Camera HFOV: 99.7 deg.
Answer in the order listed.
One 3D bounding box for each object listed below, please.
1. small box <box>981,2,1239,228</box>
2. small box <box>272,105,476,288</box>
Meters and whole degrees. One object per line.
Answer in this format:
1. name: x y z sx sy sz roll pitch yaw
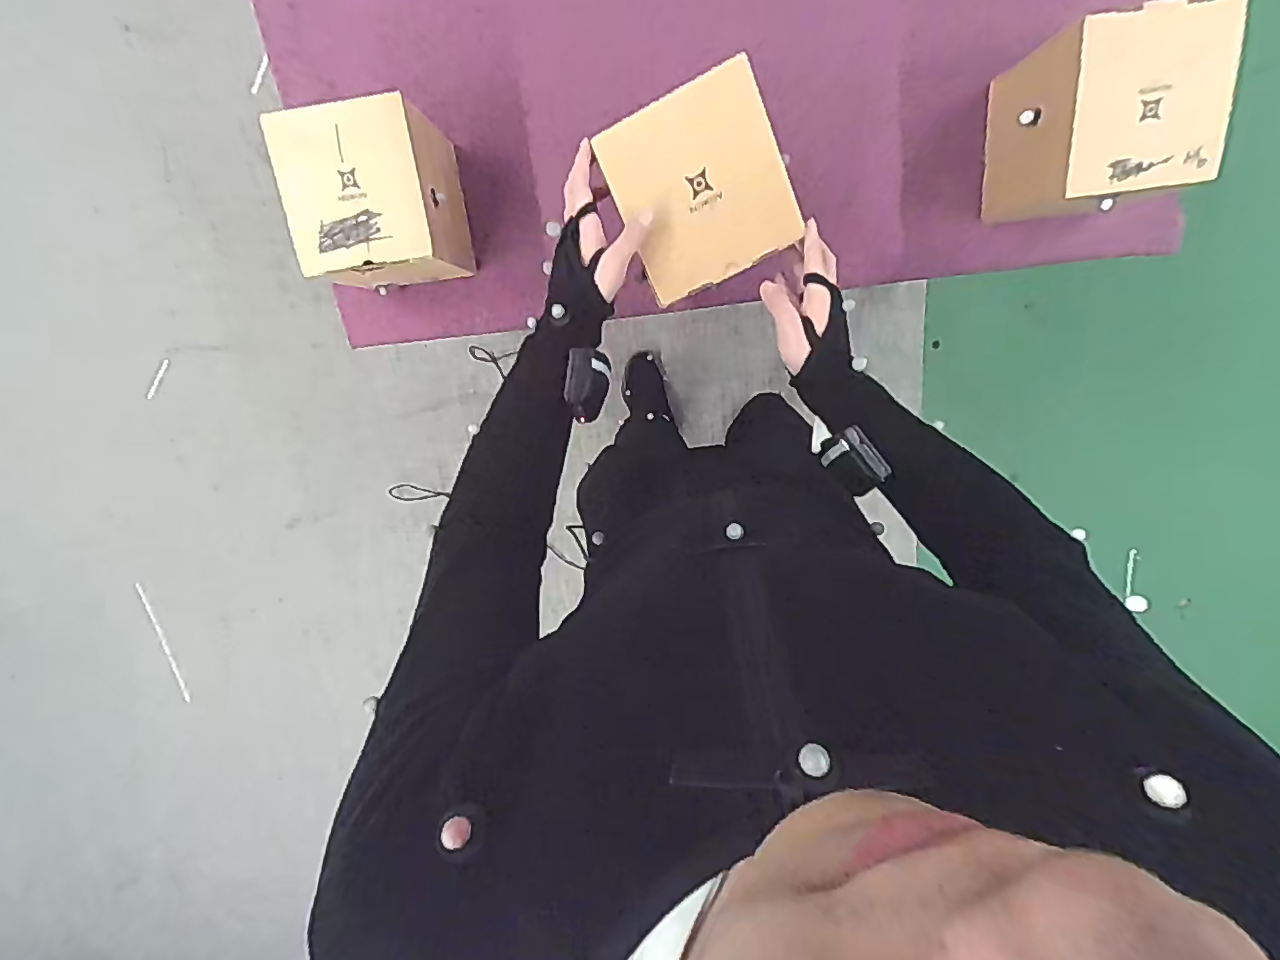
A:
1. small box: 0.547 -0.423 0.659 0.168 0.176 0.179 -5 106 5
2. small box: -0.334 -0.358 0.720 0.168 0.176 0.179 -6 104 4
